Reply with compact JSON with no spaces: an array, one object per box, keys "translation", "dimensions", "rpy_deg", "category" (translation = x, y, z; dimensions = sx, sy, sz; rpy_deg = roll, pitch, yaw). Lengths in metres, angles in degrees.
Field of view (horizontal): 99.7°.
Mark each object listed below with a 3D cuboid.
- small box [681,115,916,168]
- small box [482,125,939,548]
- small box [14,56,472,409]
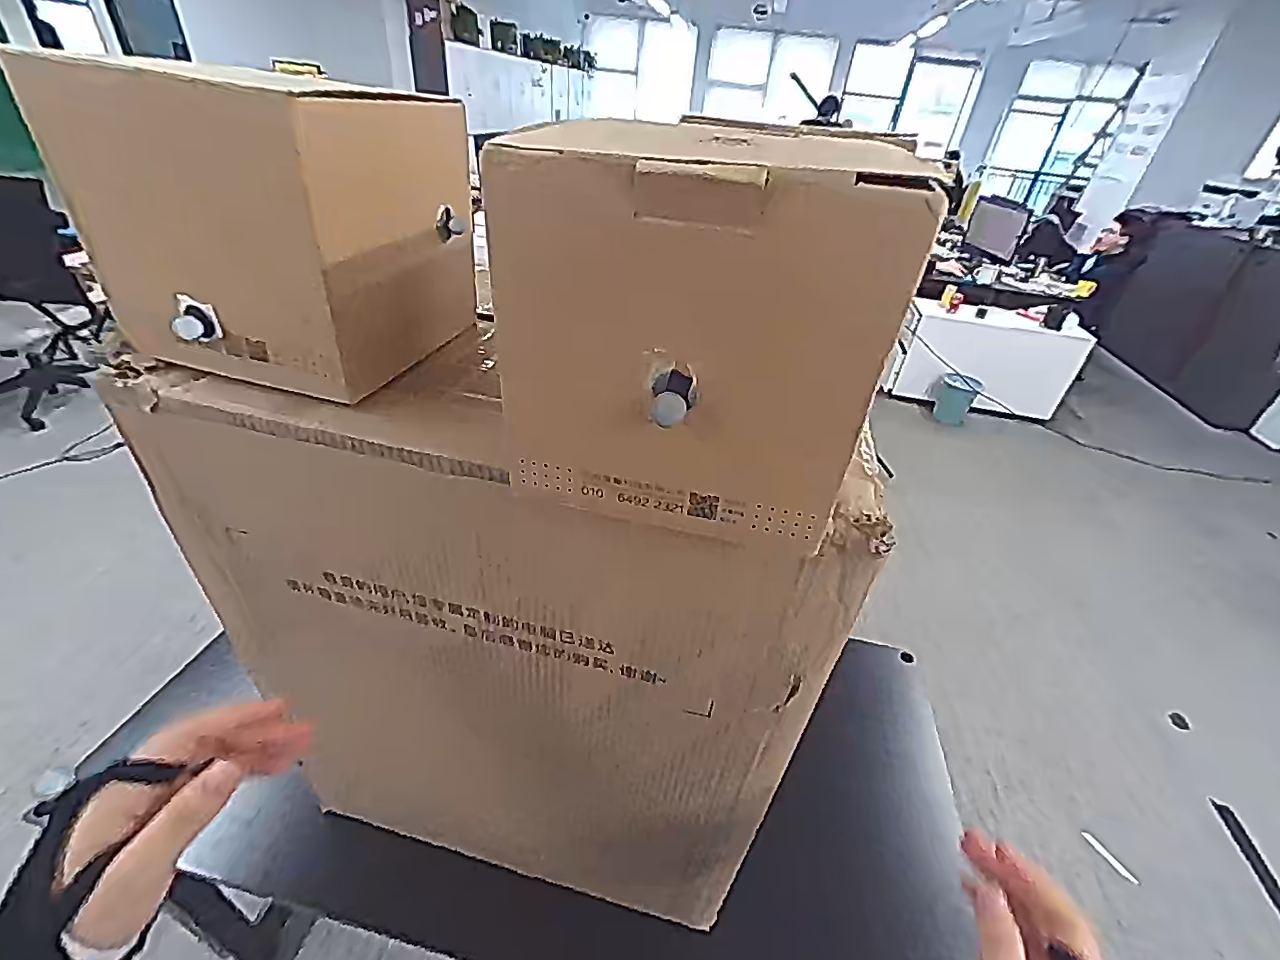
[{"translation":[0.117,-0.213,0.486],"dimensions":[0.168,0.176,0.179],"rpy_deg":[10,32,8],"category":"small box"},{"translation":[0.035,-0.087,0.301],"dimensions":[0.168,0.176,0.179],"rpy_deg":[11,38,8],"category":"small box"},{"translation":[-0.230,-0.172,0.377],"dimensions":[0.168,0.176,0.179],"rpy_deg":[12,36,7],"category":"small box"}]
